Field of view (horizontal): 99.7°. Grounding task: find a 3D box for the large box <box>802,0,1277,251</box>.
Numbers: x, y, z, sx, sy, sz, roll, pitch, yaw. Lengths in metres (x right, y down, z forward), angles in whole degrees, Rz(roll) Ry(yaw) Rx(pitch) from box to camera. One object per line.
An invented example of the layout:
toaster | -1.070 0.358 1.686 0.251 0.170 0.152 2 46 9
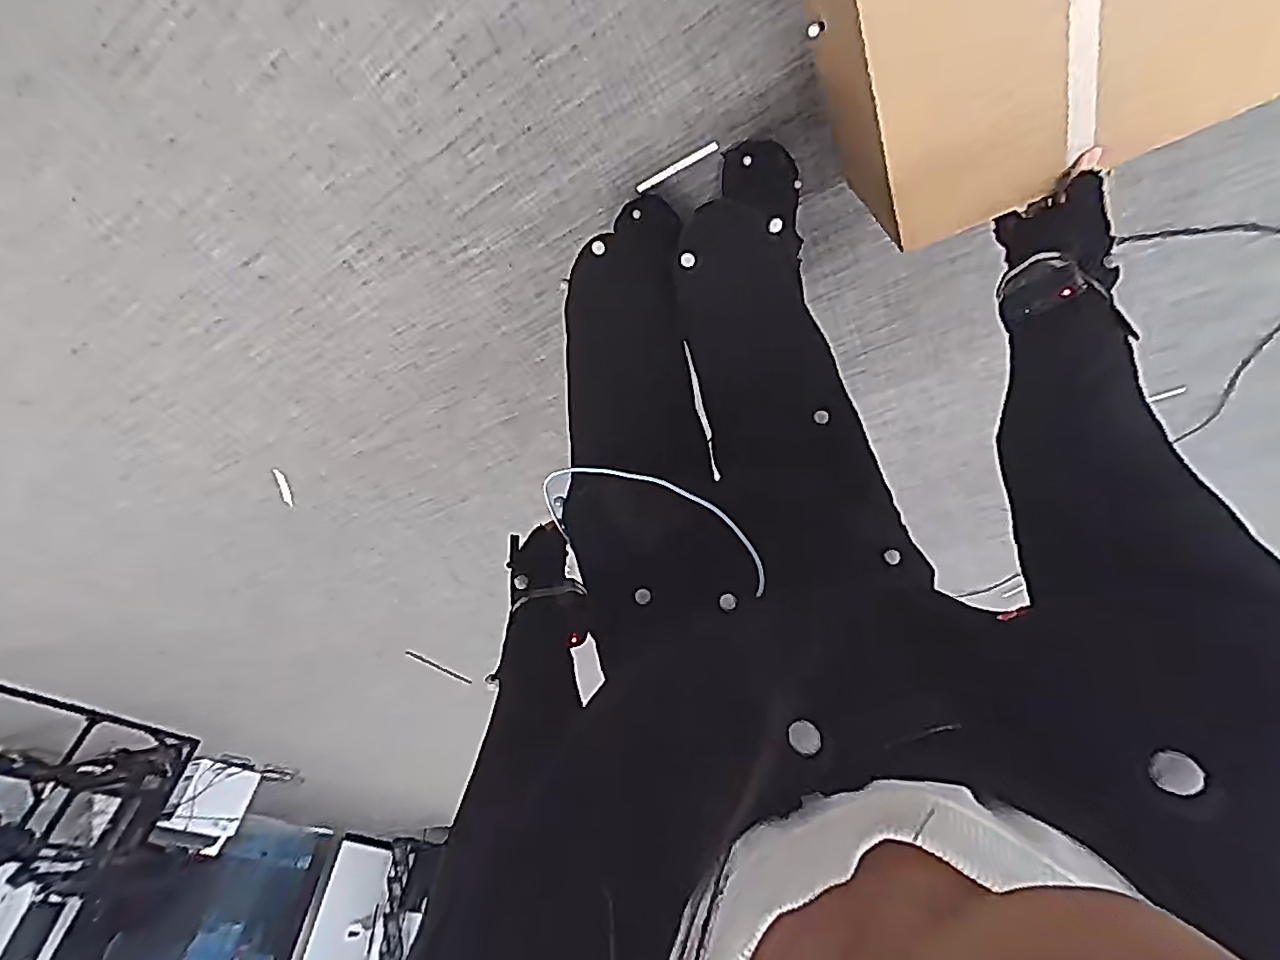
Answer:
large box | 0.342 -0.527 0.536 0.320 0.320 0.408 -19 129 20
